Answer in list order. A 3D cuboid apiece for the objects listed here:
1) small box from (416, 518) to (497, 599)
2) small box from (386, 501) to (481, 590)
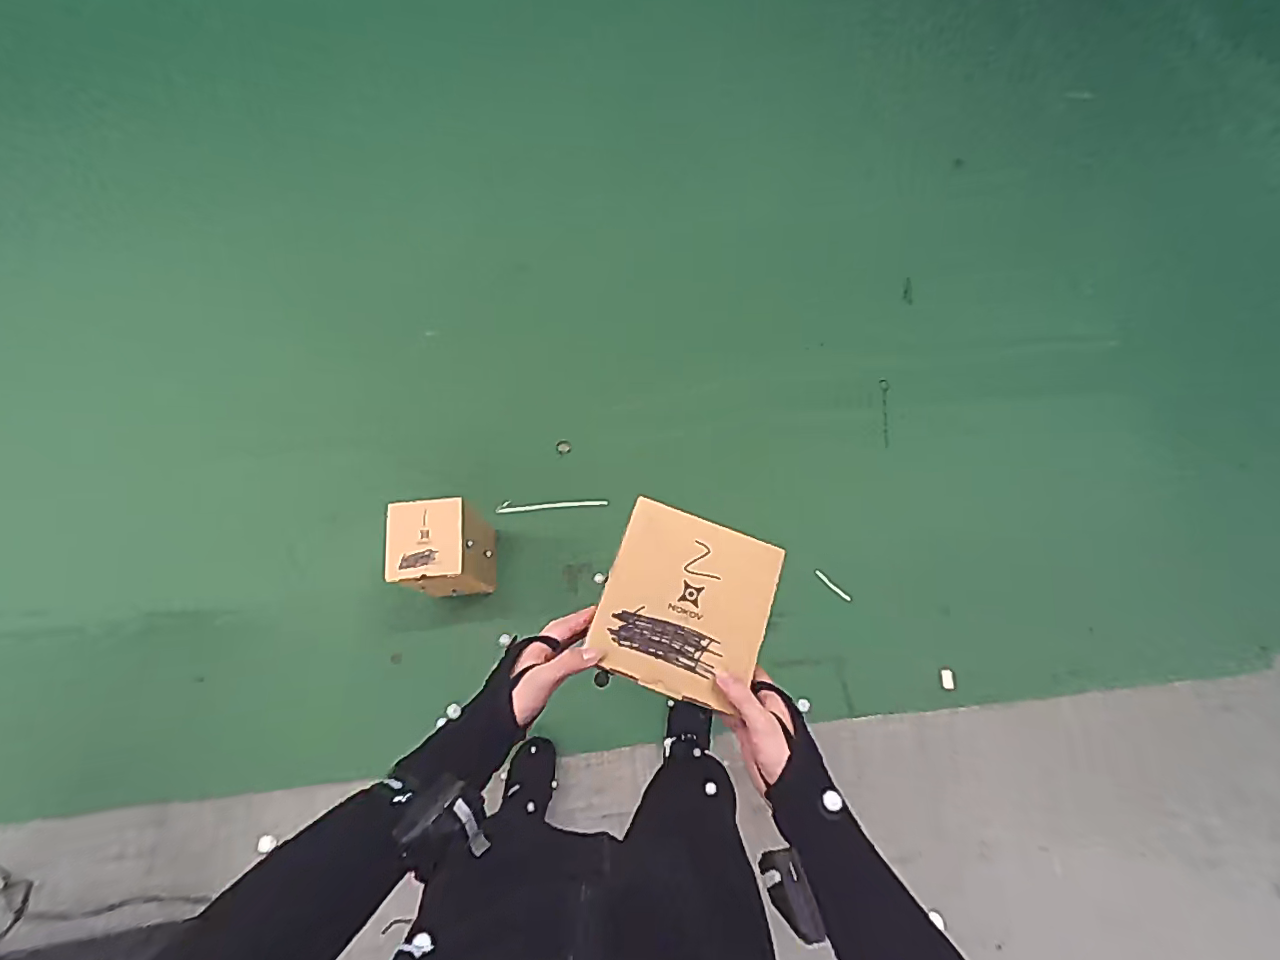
[{"bbox_3d":[-0.476,0.209,1.415,0.168,0.176,0.179,-5,73,-3],"label":"small box"},{"bbox_3d":[-0.471,0.159,1.258,0.168,0.176,0.179,-5,72,-3],"label":"small box"}]
